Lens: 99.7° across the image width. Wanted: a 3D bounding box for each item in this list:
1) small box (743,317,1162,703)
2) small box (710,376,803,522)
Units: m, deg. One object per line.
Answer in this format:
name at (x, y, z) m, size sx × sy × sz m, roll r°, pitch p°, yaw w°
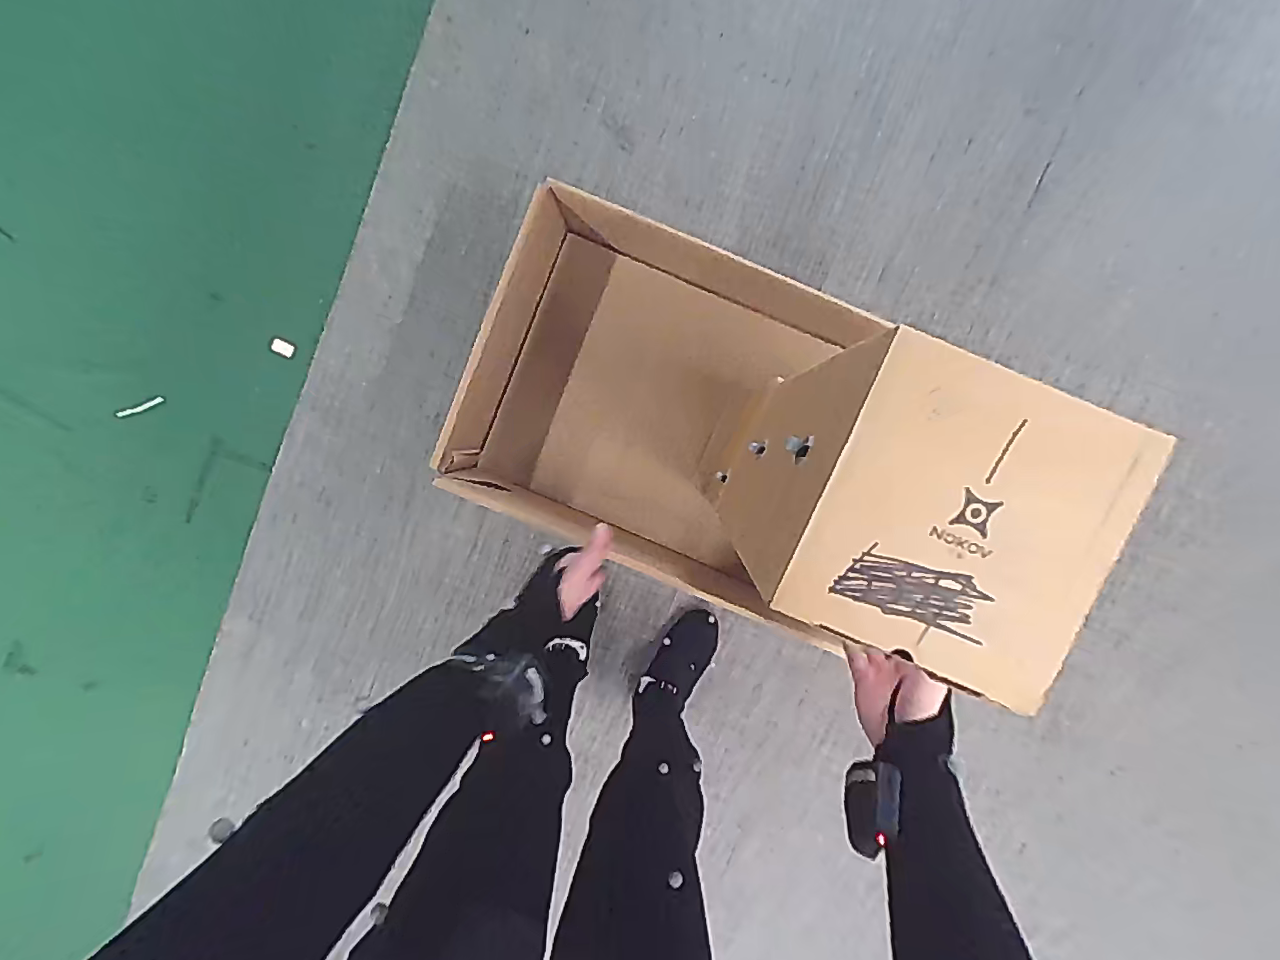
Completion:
small box at (0.184, 0.014, 0.385) m, size 0.168 × 0.176 × 0.179 m, roll 23°, pitch 95°, yaw 1°
small box at (0.200, -0.018, 0.711) m, size 0.168 × 0.176 × 0.179 m, roll 24°, pitch 96°, yaw 0°
